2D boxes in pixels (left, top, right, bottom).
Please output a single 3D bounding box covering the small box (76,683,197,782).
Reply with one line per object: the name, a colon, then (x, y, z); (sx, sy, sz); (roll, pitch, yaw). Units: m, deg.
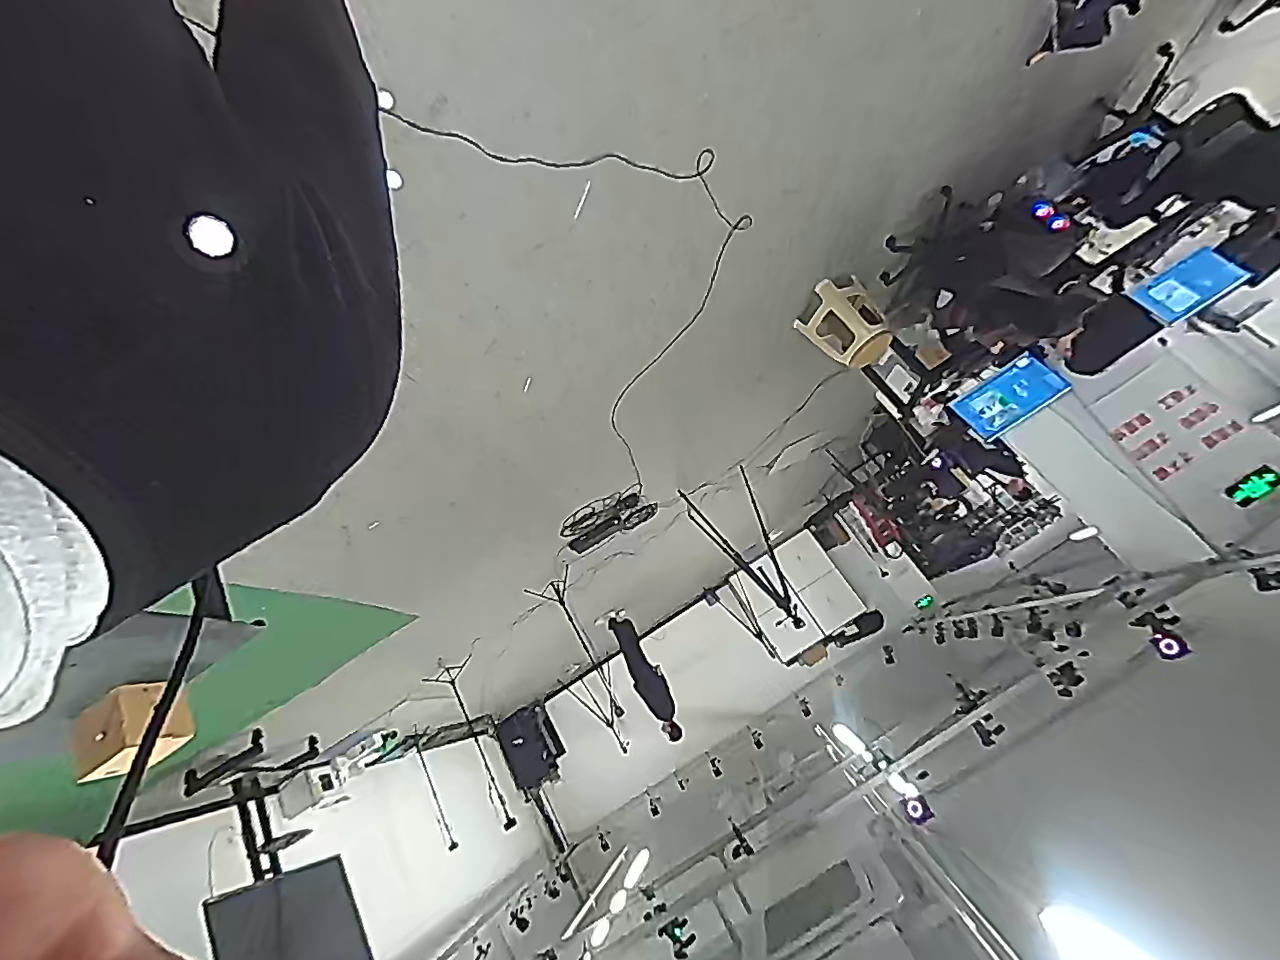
small box: (-1.345, 0.659, 1.440); (0.179, 0.176, 0.168); (-35, 158, 5)
